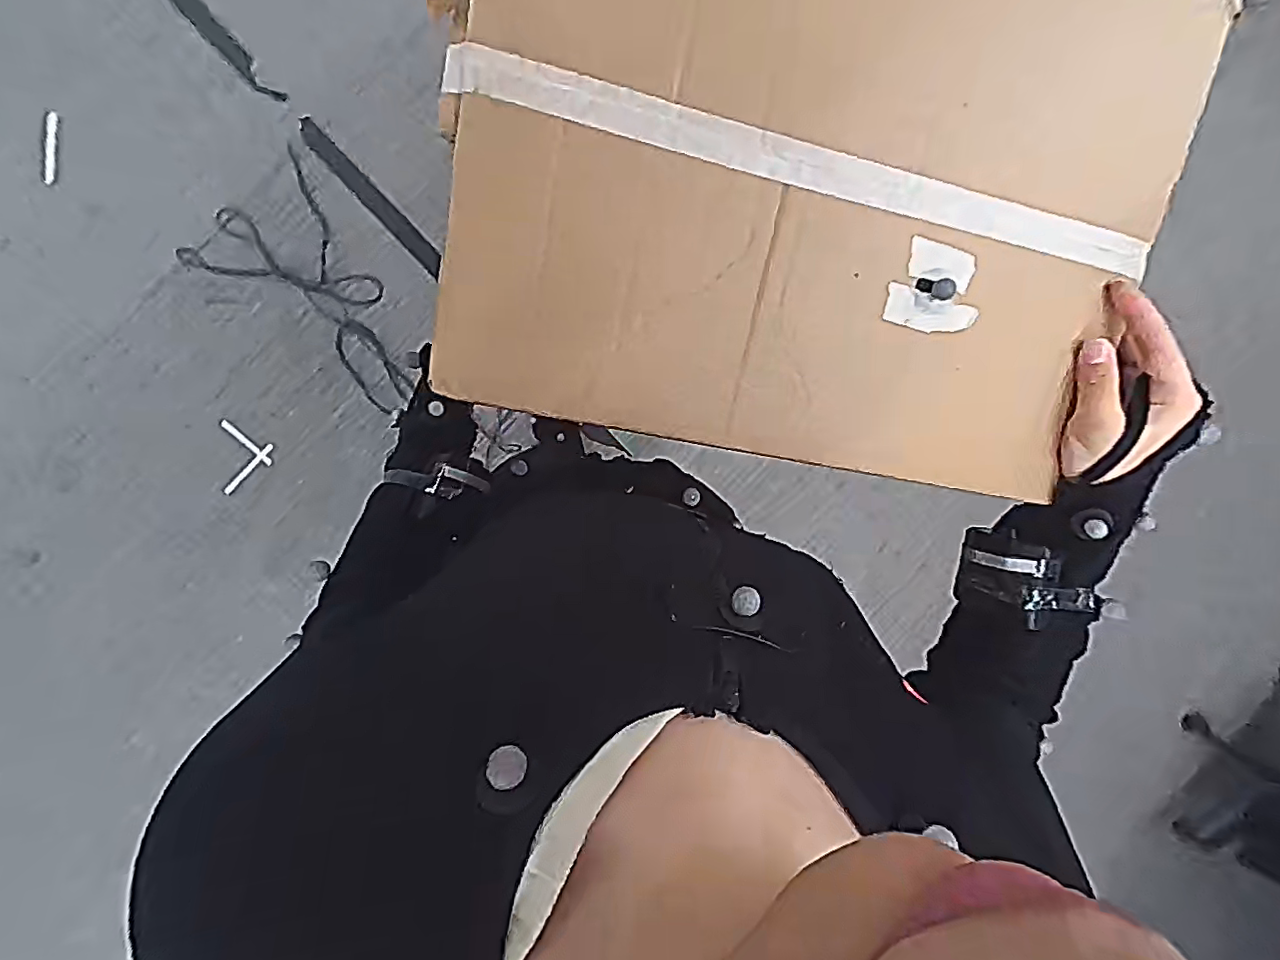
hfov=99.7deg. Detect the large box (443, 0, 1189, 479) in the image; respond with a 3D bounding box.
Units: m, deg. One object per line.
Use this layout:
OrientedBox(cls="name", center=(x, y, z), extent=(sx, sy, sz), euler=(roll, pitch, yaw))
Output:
OrientedBox(cls="large box", center=(0.080, -0.204, 0.448), extent=(0.408, 0.320, 0.320), euler=(8, 103, -12))
